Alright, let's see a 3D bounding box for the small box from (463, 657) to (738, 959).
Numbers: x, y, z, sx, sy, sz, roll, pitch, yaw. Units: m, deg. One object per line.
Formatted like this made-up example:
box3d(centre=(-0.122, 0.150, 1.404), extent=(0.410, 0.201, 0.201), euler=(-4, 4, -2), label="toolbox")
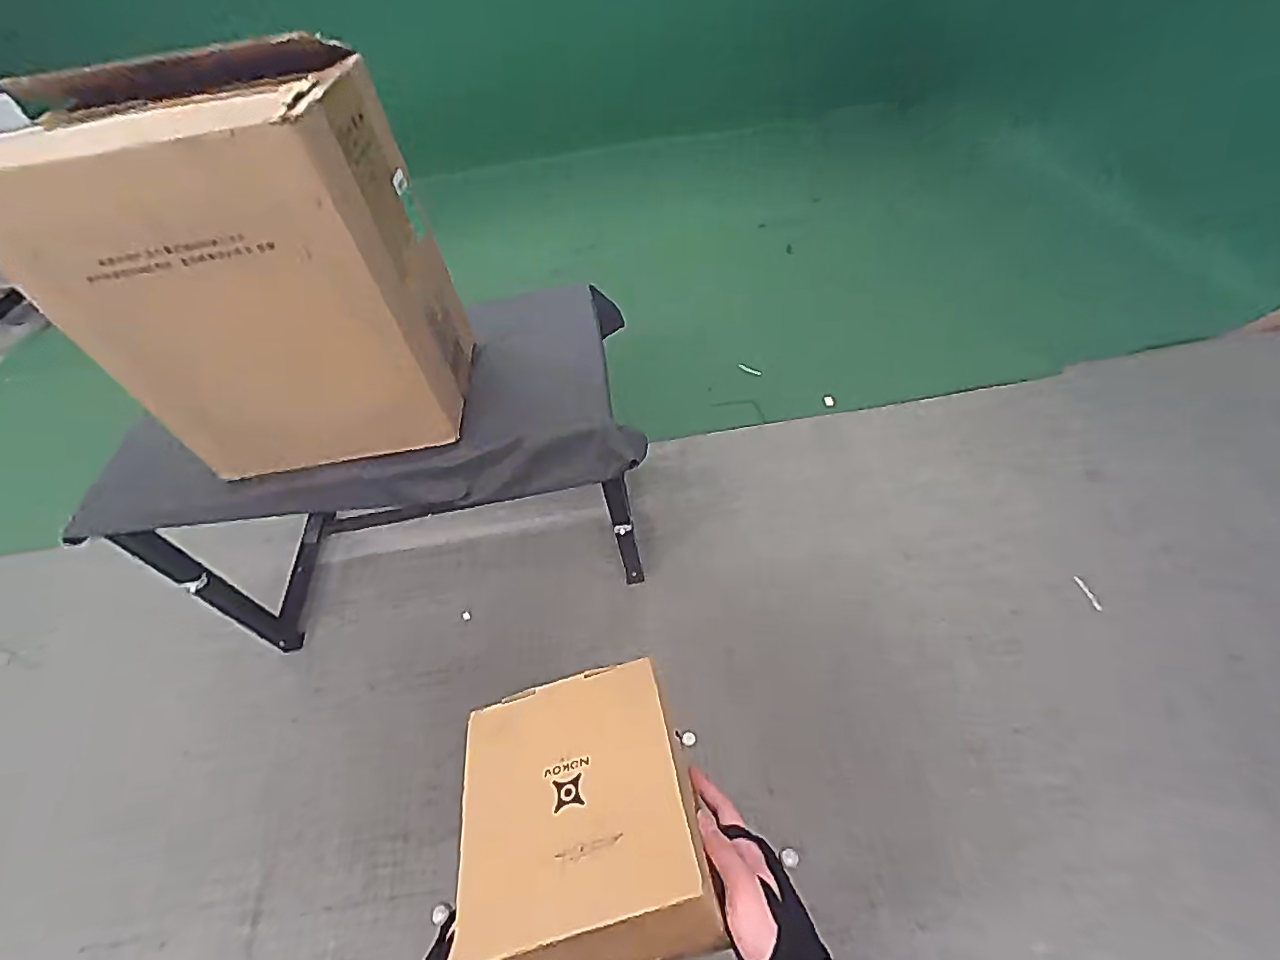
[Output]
box3d(centre=(-0.030, 0.287, 0.449), extent=(0.168, 0.176, 0.179), euler=(-19, 39, -1), label="small box")
